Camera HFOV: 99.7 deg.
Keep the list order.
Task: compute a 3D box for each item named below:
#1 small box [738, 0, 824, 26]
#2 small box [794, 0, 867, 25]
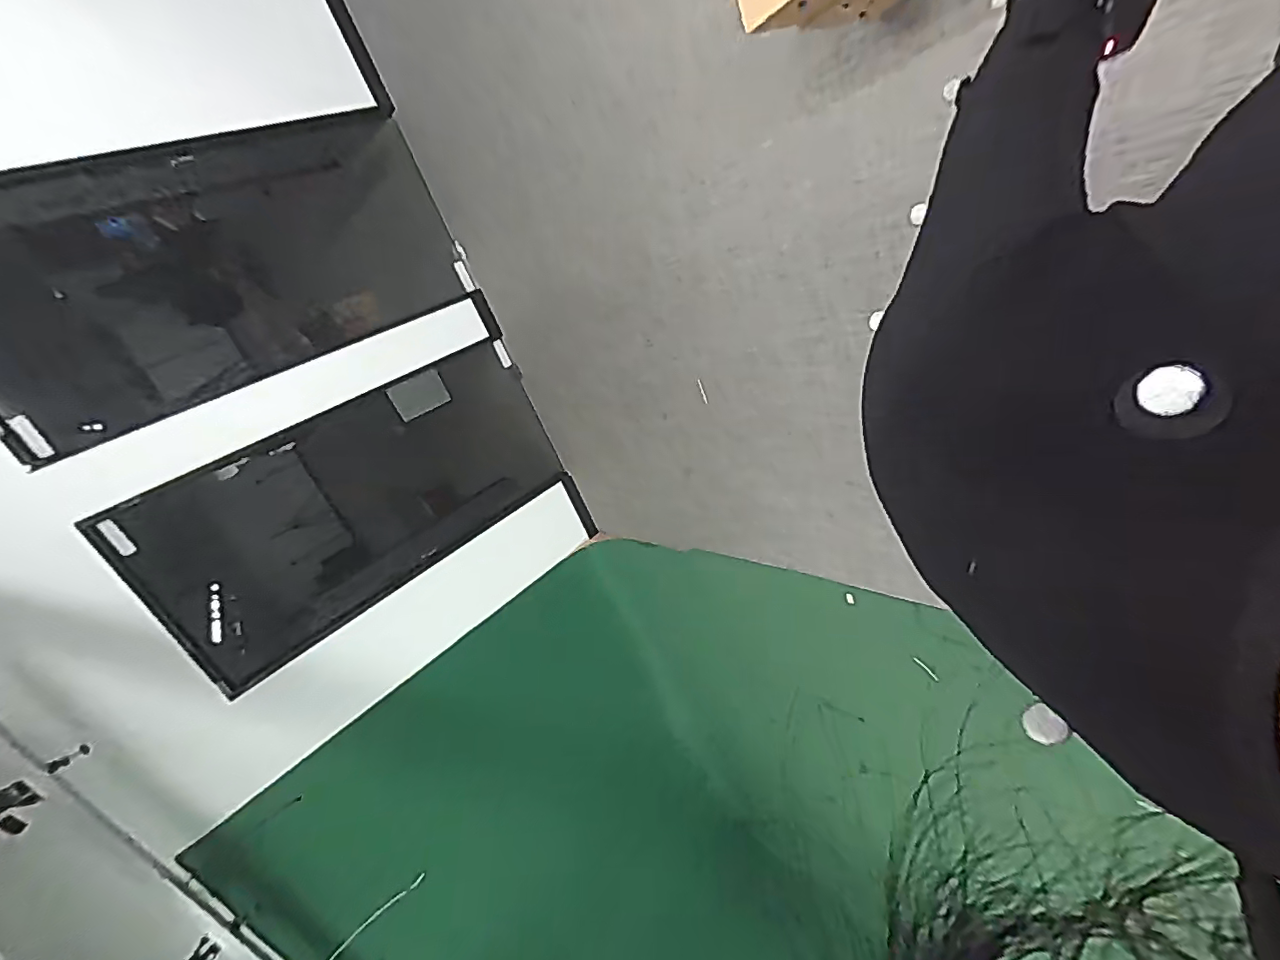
[{"bbox_3d":[0.261,-0.885,0.877,0.179,0.176,0.168,4,125,53],"label":"small box"},{"bbox_3d":[0.374,-0.962,0.968,0.179,0.176,0.168,3,124,51],"label":"small box"}]
